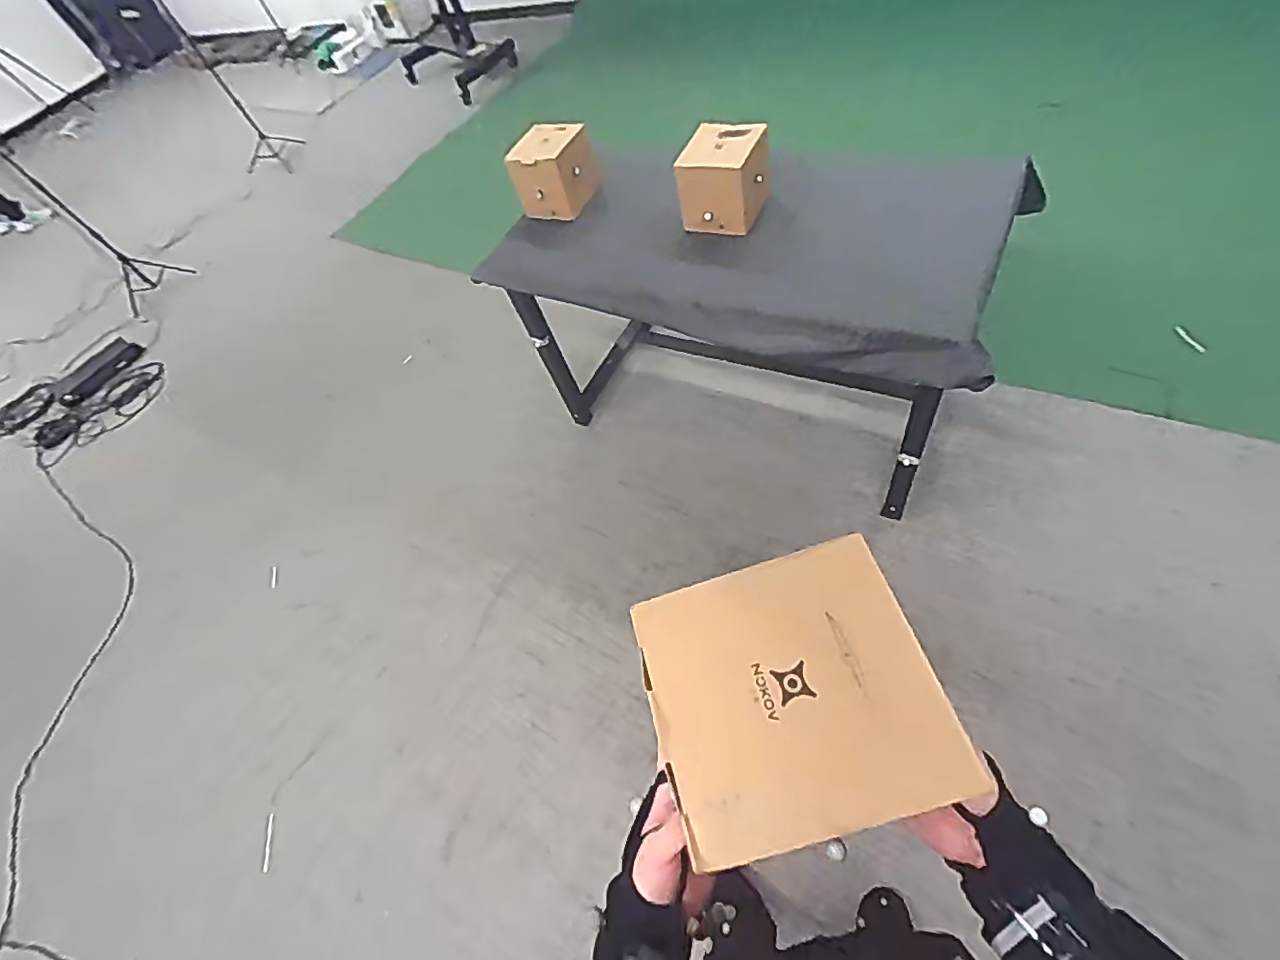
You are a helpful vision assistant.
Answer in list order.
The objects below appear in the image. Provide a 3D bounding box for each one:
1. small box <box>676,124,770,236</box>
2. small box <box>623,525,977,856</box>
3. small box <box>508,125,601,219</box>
[{"bbox_3d":[0.206,-0.719,1.296,0.168,0.176,0.179,17,65,25],"label":"small box"},{"bbox_3d":[0.105,0.162,0.412,0.179,0.176,0.168,-19,59,2],"label":"small box"},{"bbox_3d":[-0.229,-0.851,1.503,0.168,0.176,0.179,15,64,23],"label":"small box"}]
